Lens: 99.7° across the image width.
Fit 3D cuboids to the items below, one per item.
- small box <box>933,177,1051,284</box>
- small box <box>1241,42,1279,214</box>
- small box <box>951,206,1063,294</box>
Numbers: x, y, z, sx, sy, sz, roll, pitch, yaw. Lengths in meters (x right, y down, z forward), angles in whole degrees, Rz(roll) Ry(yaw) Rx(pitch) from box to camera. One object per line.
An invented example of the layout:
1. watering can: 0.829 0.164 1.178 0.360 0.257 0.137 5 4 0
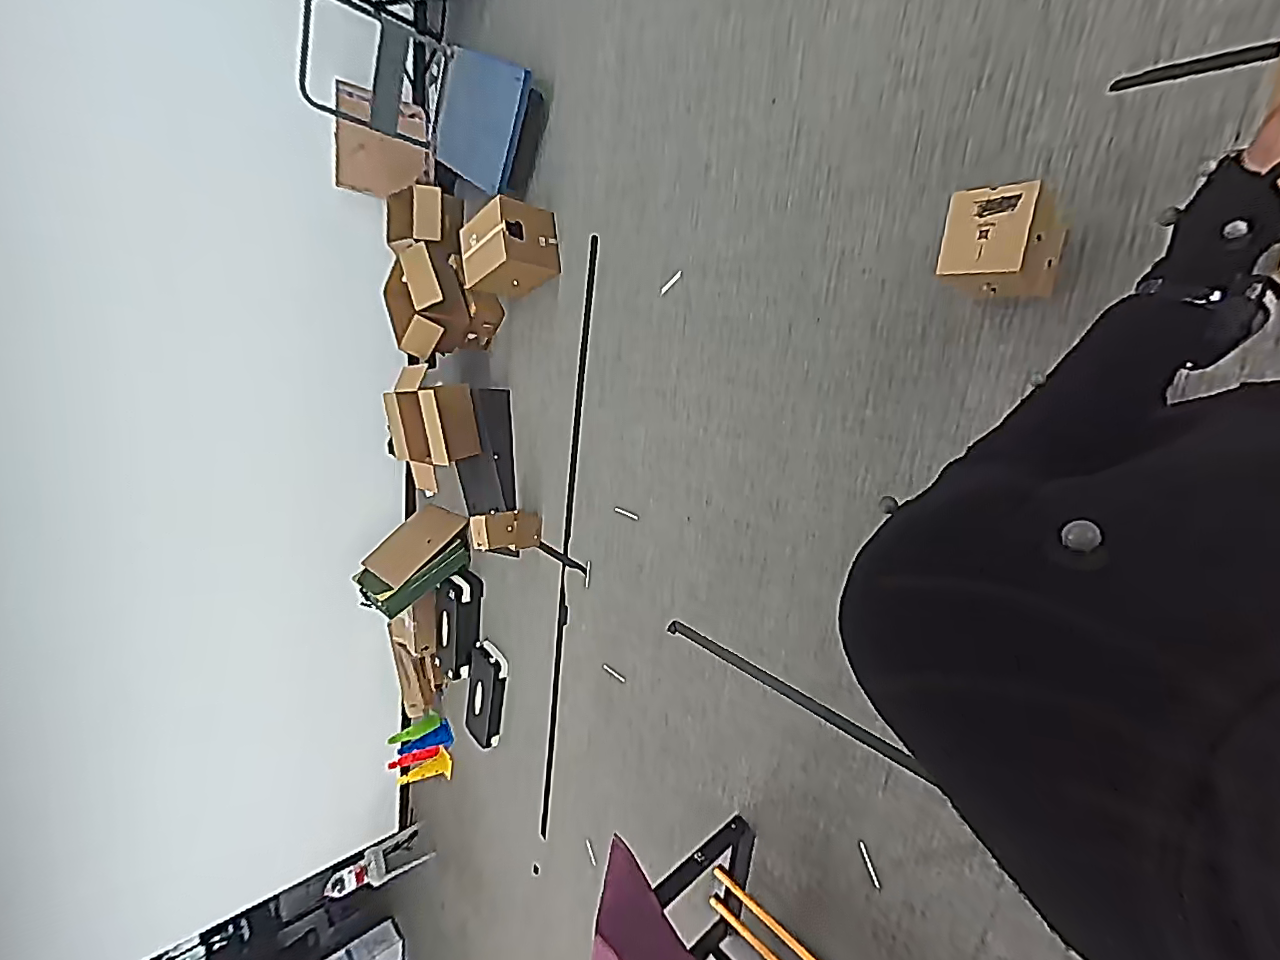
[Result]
1. small box: 0.779 -0.539 1.193 0.168 0.176 0.179 19 108 44
2. small box: 0.643 -0.333 0.443 0.168 0.176 0.179 11 104 38
3. small box: 0.893 -0.551 1.311 0.179 0.176 0.168 18 107 44
